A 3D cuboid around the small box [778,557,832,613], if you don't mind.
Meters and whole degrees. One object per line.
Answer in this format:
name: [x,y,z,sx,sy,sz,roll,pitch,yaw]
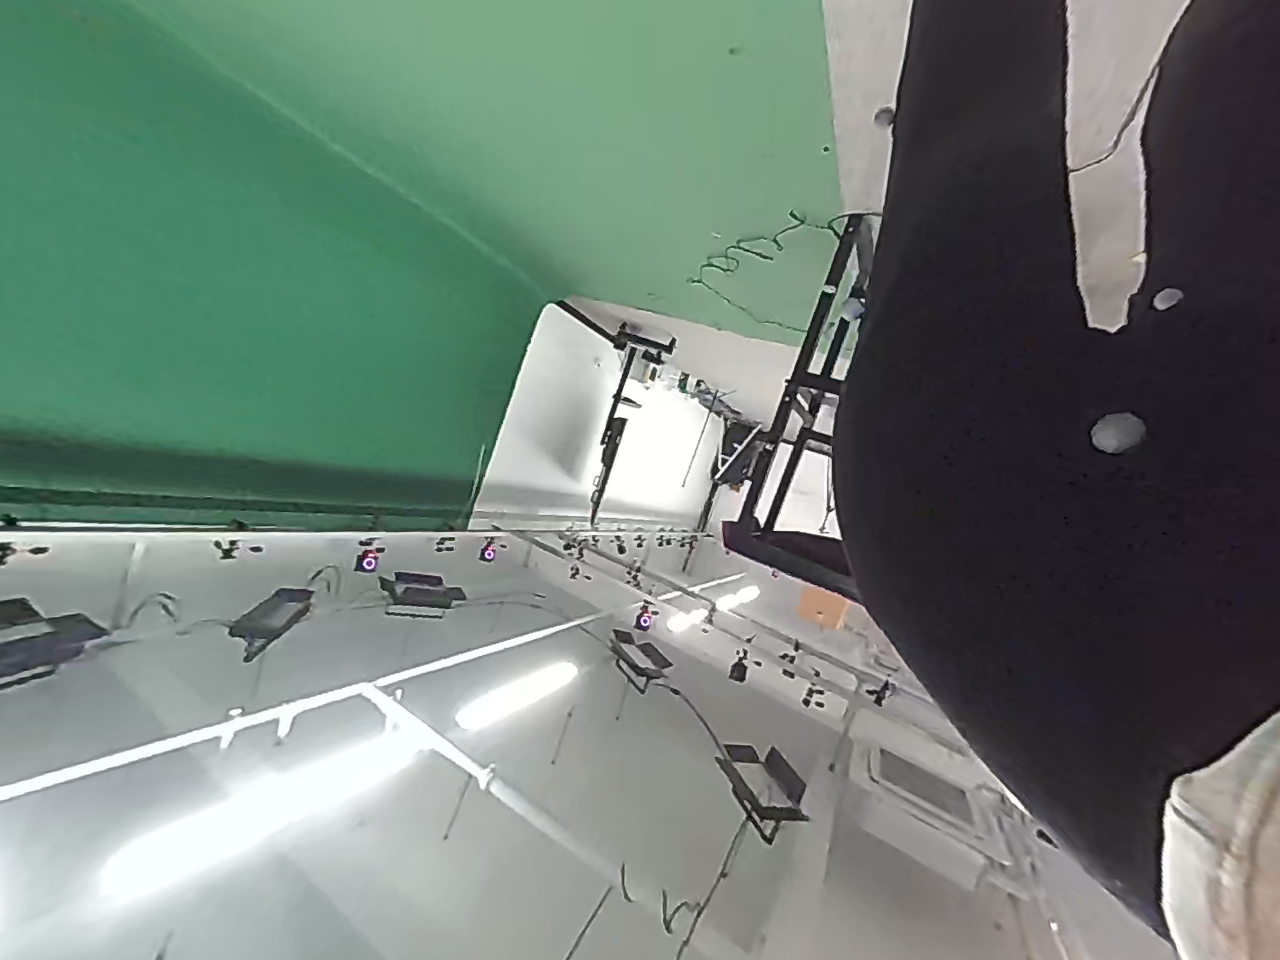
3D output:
small box: [0.706,0.440,2.294,0.179,0.176,0.168,22,-174,23]
